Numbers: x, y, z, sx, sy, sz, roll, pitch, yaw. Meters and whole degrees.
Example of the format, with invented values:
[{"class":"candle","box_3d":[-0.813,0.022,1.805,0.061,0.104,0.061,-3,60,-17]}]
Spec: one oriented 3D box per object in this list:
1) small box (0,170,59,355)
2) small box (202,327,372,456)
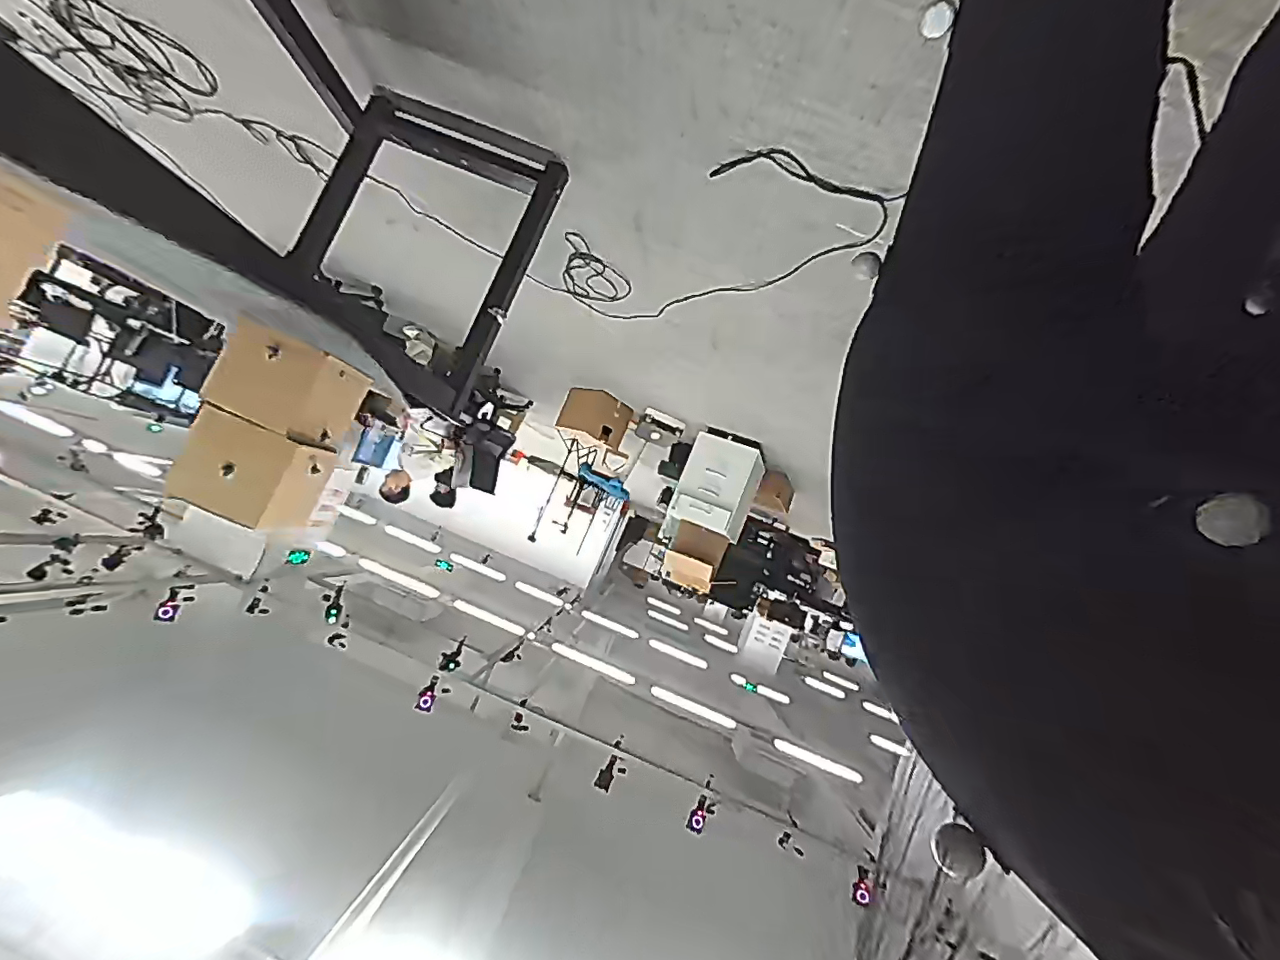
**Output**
[{"class":"small box","box_3d":[-0.653,-0.226,0.445,0.179,0.176,0.168,27,173,-17]},{"class":"small box","box_3d":[-0.654,-0.167,1.025,0.179,0.176,0.168,24,174,3]}]
